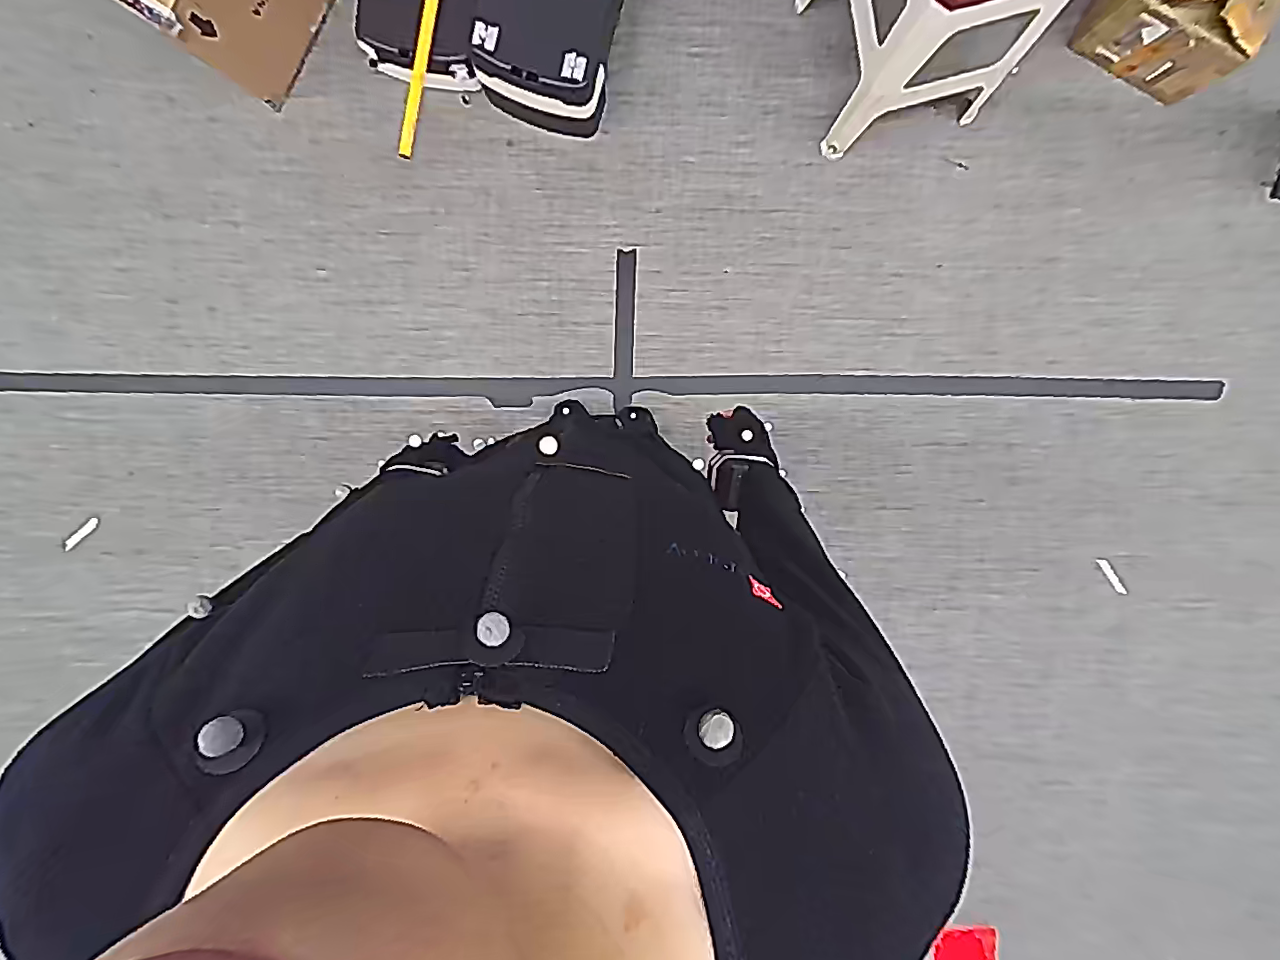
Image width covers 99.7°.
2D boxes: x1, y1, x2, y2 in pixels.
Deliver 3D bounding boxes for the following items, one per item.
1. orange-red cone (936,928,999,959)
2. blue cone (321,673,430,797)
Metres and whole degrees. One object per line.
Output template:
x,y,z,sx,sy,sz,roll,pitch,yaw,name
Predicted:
1.039,1.532,1.545,0.198,0.360,0.199,-3,98,0,orange-red cone
-0.721,0.683,1.419,0.192,0.380,0.193,-4,99,1,blue cone
